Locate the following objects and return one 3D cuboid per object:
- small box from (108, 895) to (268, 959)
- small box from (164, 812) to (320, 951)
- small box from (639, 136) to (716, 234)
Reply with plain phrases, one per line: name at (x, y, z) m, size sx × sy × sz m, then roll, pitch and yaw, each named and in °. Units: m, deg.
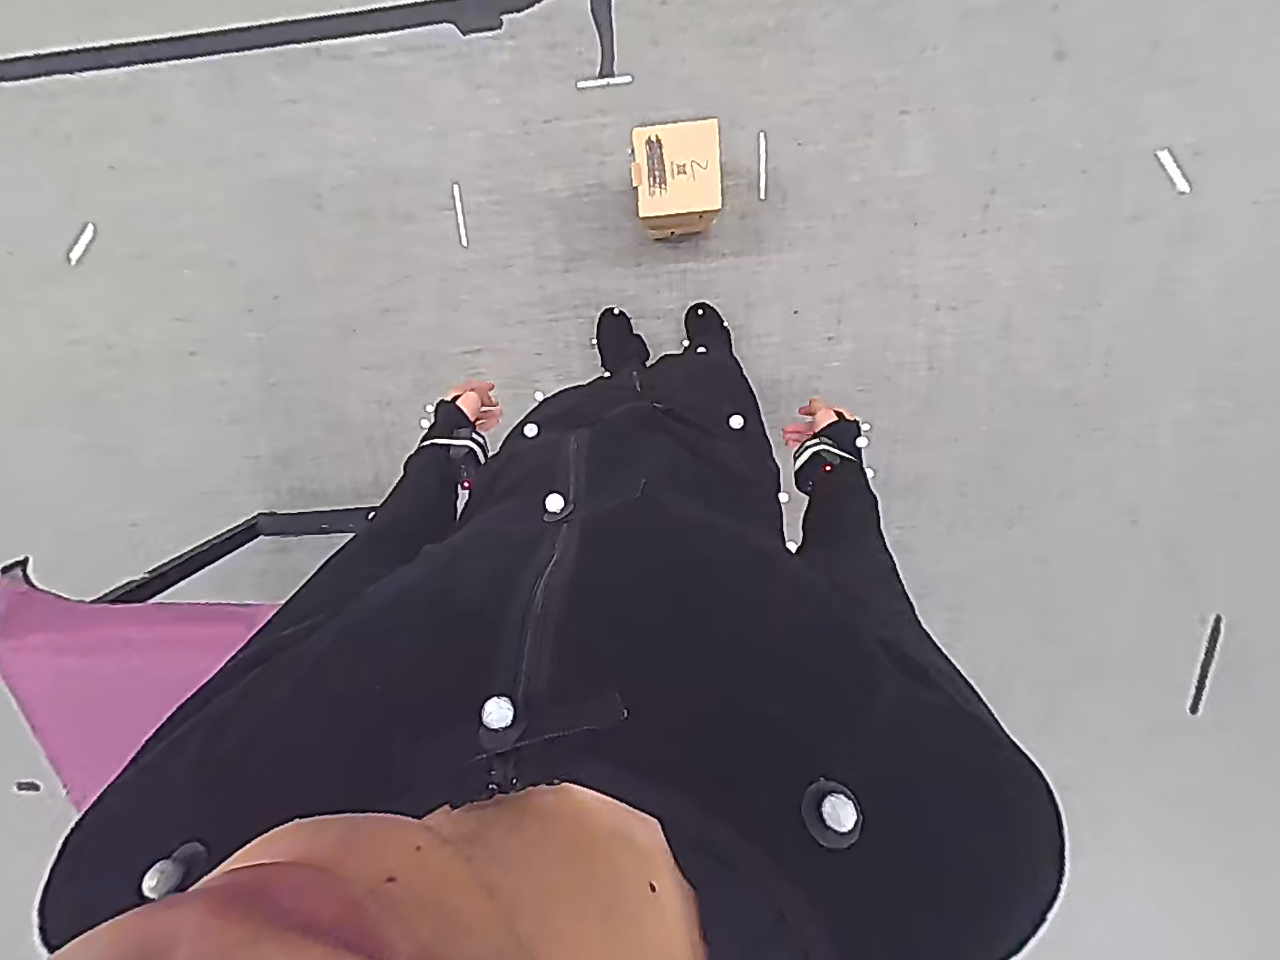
small box at (-0.819, 0.881, 0.964) m, size 0.179 × 0.176 × 0.168 m, roll -2°, pitch 109°, yaw 4°
small box at (-0.807, 0.828, 1.119) m, size 0.168 × 0.176 × 0.179 m, roll -7°, pitch 108°, yaw 5°
small box at (0.094, -0.711, 1.325) m, size 0.168 × 0.176 × 0.179 m, roll -7°, pitch 108°, yaw 5°
